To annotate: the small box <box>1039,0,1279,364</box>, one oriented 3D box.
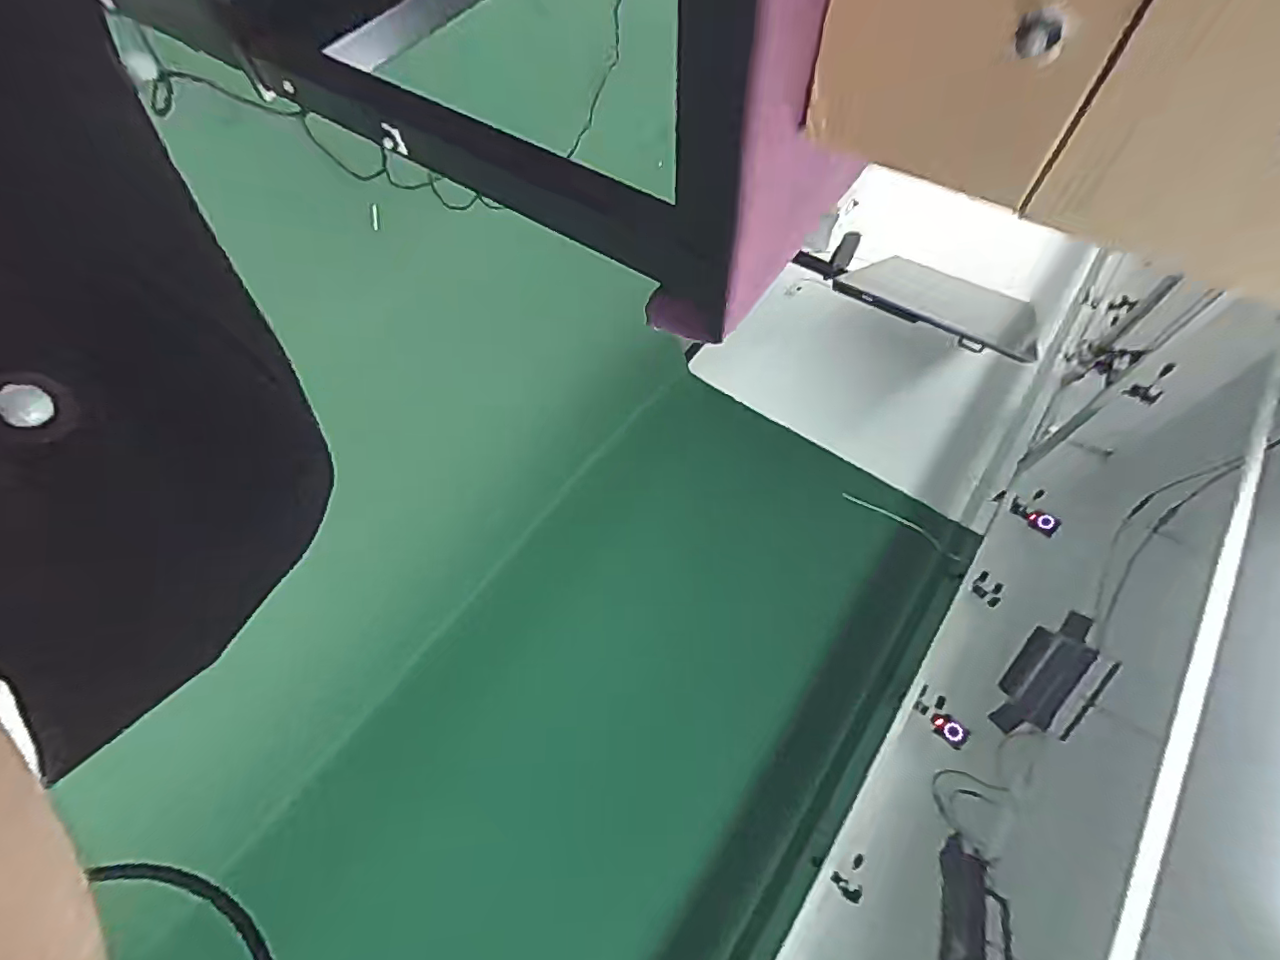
[{"bbox_3d":[0.357,-0.203,0.289,0.168,0.176,0.179,-51,161,-18],"label":"small box"}]
